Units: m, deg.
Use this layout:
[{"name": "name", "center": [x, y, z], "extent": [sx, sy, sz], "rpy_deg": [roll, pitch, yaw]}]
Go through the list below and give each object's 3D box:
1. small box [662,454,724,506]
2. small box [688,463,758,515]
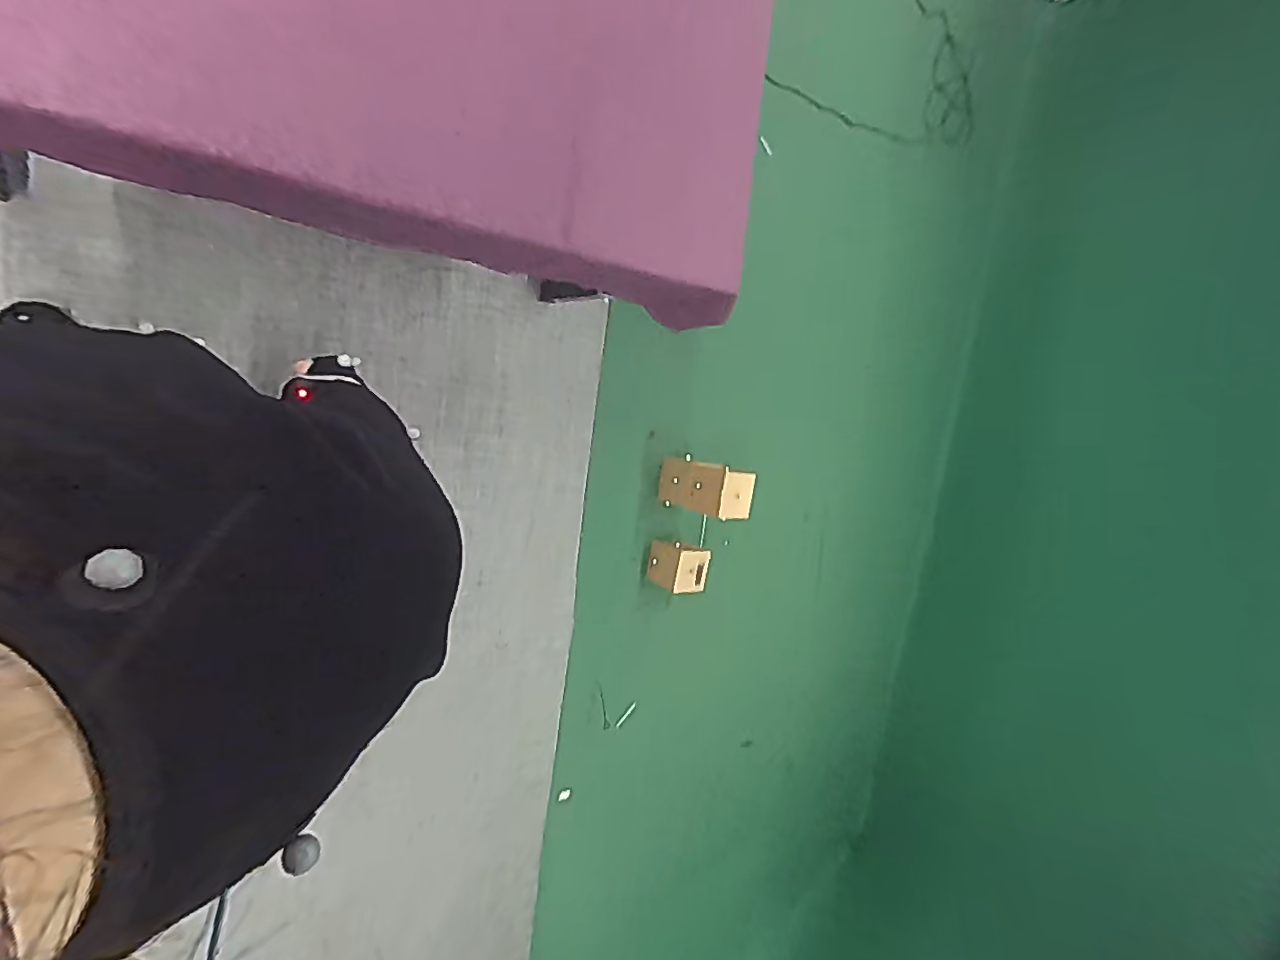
[{"name": "small box", "center": [0.204, 0.001, 2.124], "extent": [0.168, 0.176, 0.179], "rpy_deg": [2, 99, -41]}, {"name": "small box", "center": [0.307, 0.033, 2.002], "extent": [0.179, 0.176, 0.168], "rpy_deg": [2, 99, -41]}]
